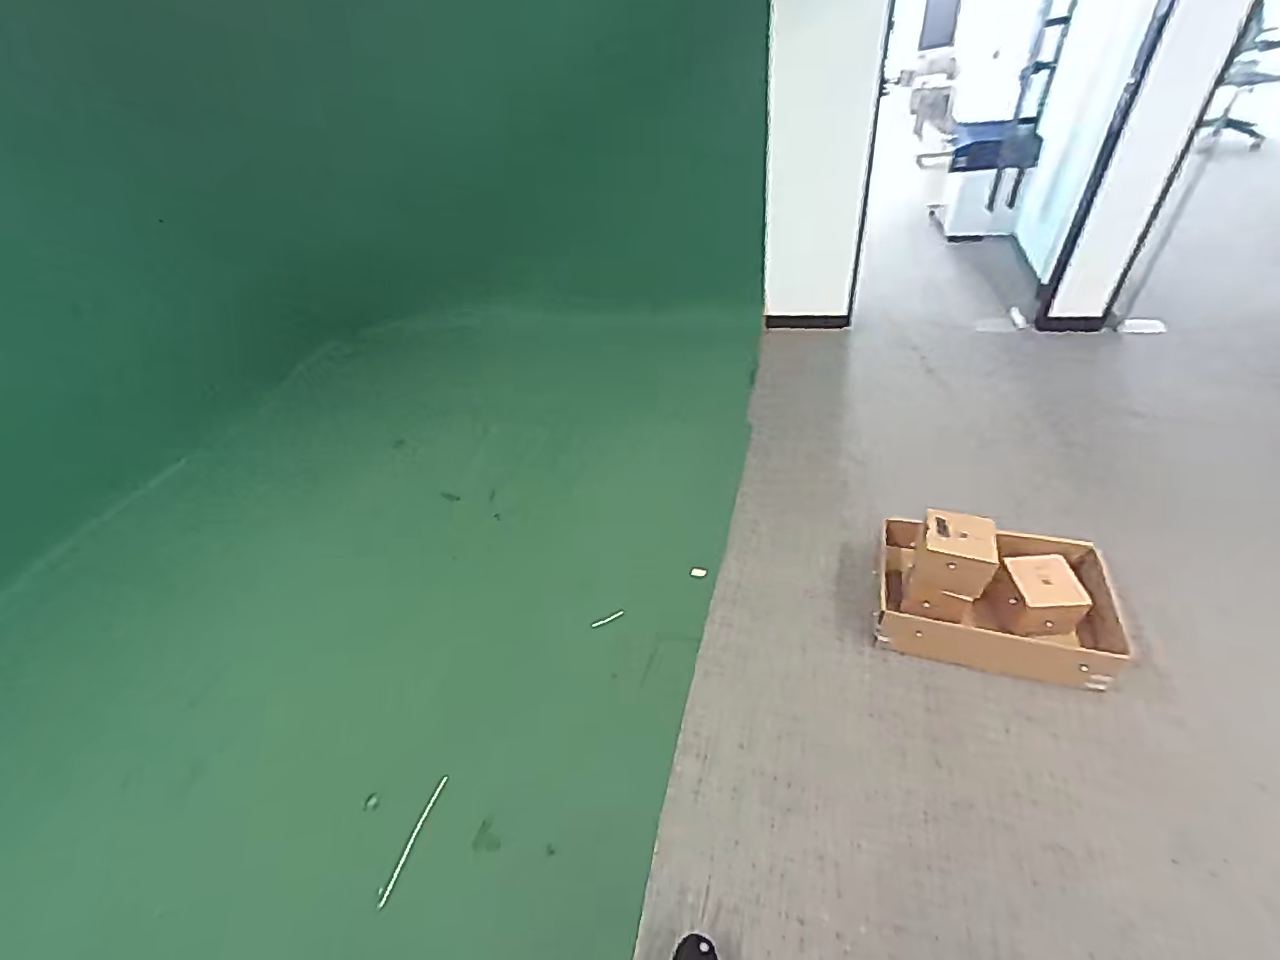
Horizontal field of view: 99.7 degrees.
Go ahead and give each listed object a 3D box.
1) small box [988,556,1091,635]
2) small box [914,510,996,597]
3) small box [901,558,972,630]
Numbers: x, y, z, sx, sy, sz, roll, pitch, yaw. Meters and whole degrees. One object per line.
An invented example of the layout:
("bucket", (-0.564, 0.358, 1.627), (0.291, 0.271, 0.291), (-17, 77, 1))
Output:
("small box", (1.180, 0.351, 1.612), (0.168, 0.176, 0.179), (-4, 43, 7))
("small box", (0.907, 0.216, 1.570), (0.179, 0.176, 0.168), (11, 46, 20))
("small box", (0.927, 0.334, 1.682), (0.168, 0.176, 0.179), (16, 48, 25))
